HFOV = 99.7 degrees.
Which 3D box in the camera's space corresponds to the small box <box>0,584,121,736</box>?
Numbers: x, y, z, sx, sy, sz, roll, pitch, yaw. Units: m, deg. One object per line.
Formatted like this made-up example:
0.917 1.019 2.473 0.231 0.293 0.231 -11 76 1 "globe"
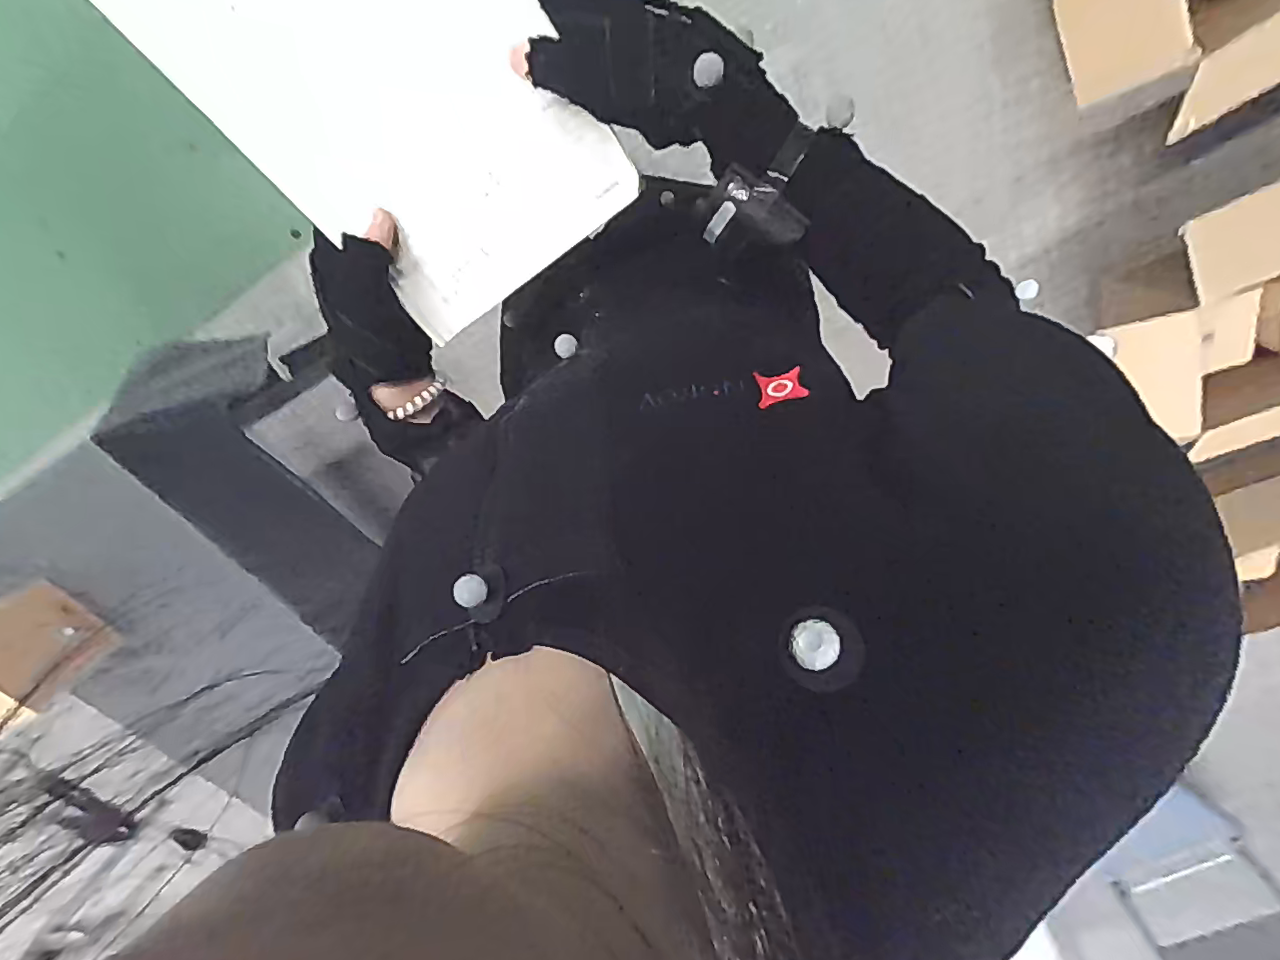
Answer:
-1.063 0.309 0.919 0.179 0.176 0.168 -23 117 14 "small box"
